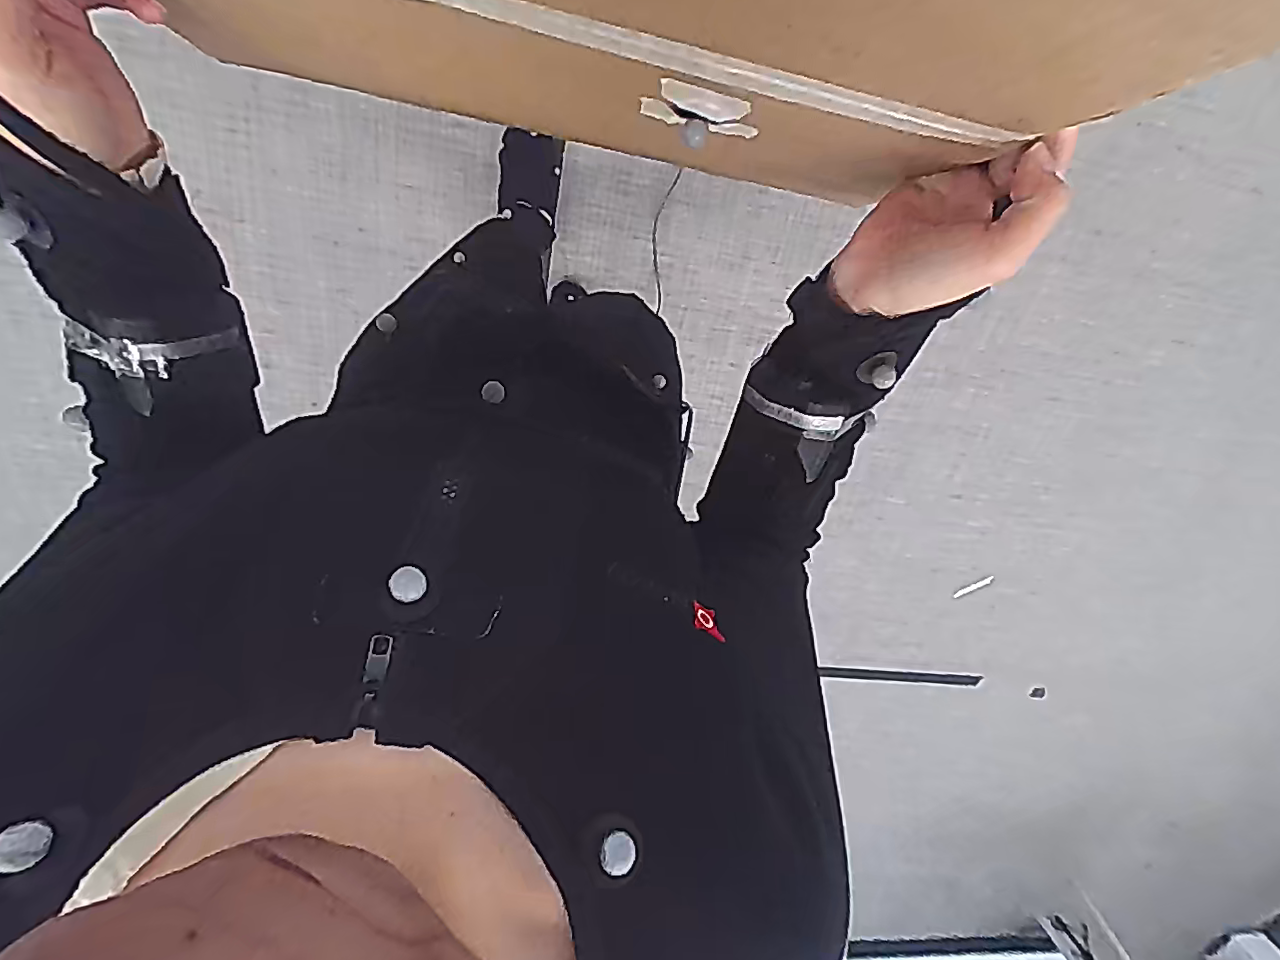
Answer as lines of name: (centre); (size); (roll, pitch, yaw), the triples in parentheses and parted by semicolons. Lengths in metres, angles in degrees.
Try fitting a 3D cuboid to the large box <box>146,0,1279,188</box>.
large box: (-0.009, -0.324, 0.160); (0.408, 0.320, 0.320); (7, 107, -8)
